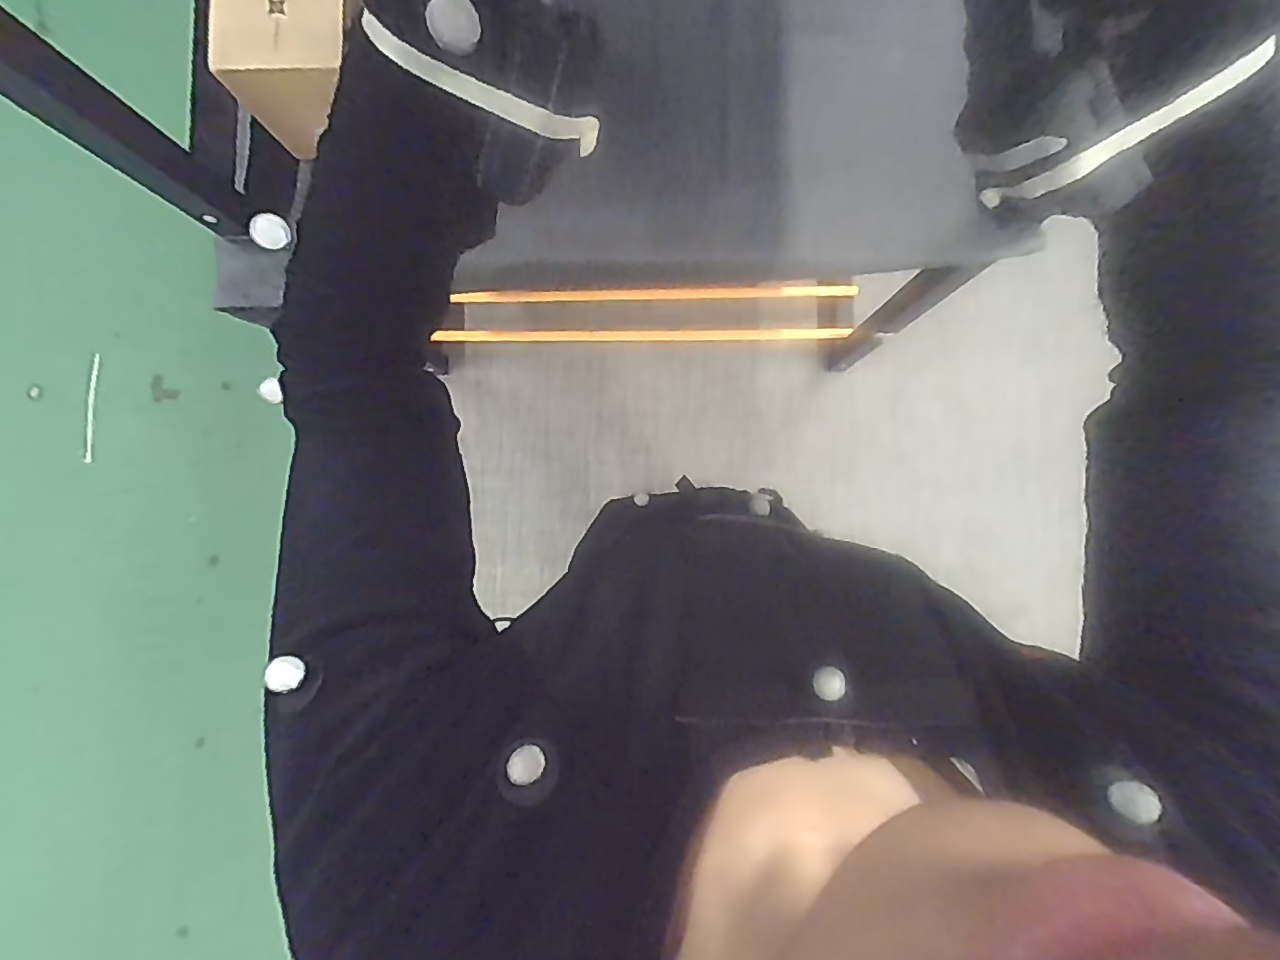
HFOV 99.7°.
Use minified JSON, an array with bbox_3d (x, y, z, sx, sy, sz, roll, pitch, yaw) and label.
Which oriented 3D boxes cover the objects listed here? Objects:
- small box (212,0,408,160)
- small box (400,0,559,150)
[{"bbox_3d":[-0.434,-0.575,0.738,0.168,0.176,0.179,0,86,1],"label":"small box"},{"bbox_3d":[-0.206,-0.583,0.738,0.168,0.176,0.179,1,86,1],"label":"small box"}]
